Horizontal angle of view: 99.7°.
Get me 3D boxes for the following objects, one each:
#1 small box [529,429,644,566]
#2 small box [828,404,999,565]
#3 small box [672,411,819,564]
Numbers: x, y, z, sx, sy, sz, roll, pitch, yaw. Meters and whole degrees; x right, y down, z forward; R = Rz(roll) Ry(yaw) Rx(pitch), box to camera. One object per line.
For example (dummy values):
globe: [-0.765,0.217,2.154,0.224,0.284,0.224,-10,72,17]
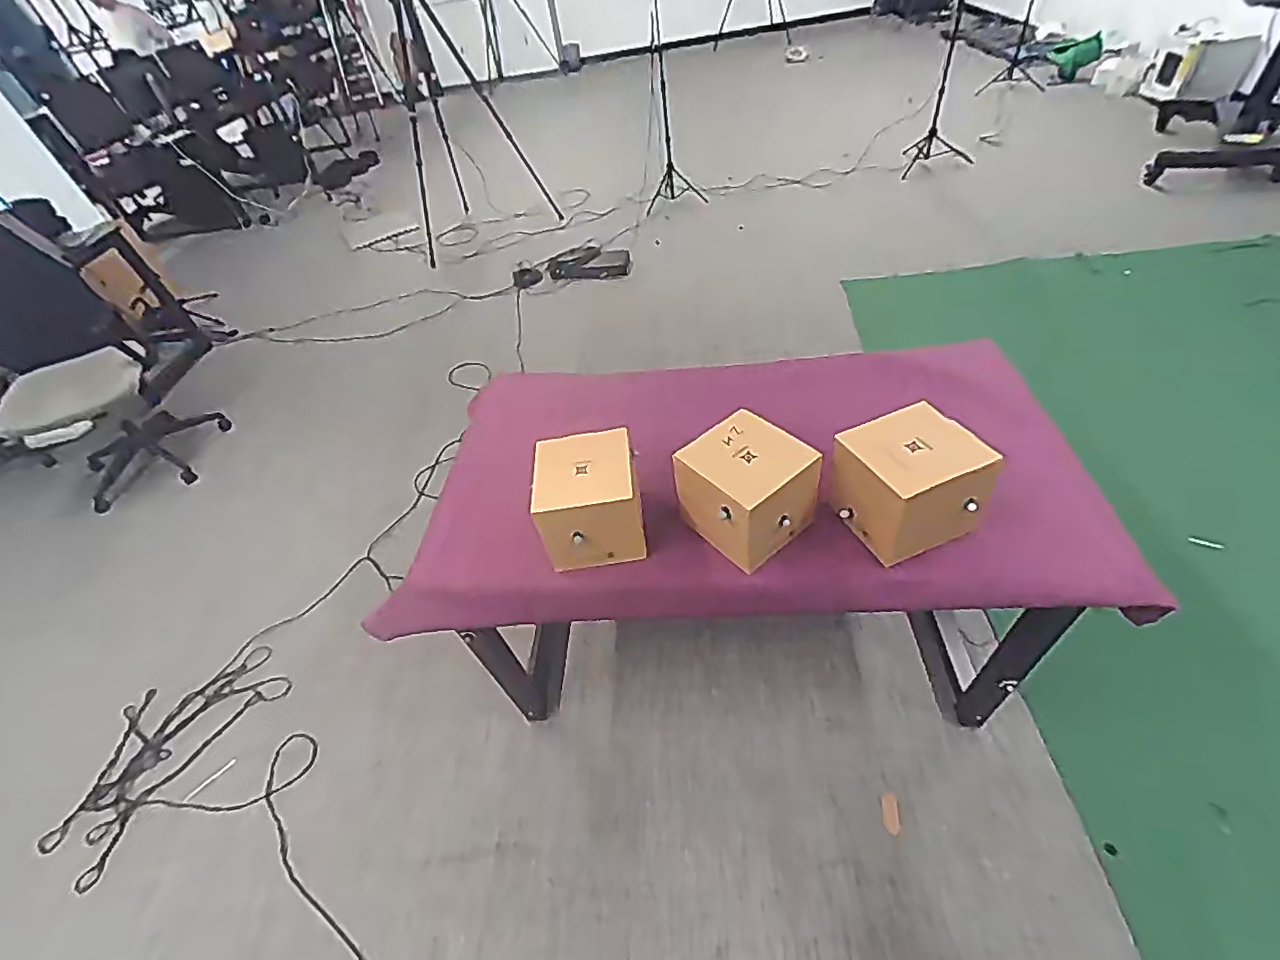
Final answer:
small box: [-0.089,0.038,0.957,0.168,0.176,0.179,-9,44,2]
small box: [0.431,0.009,0.889,0.179,0.176,0.168,-21,44,-9]
small box: [0.177,0.019,0.924,0.168,0.176,0.179,-33,49,-21]
